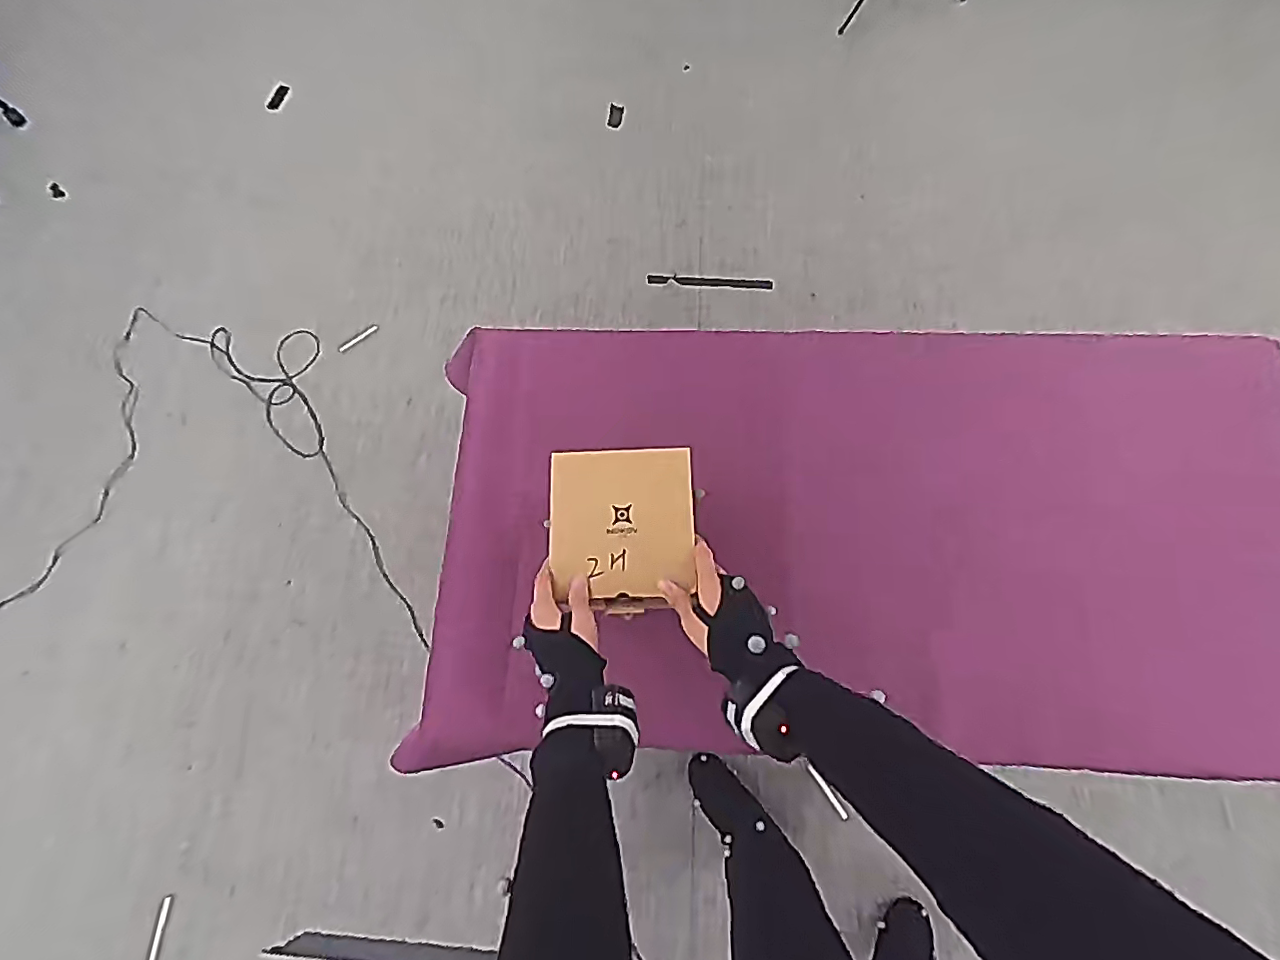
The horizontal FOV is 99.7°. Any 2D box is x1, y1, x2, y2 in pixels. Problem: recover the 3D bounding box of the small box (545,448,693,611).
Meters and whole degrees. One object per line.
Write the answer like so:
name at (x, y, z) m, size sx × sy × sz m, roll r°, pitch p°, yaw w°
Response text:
small box at (-0.021, 0.070, 0.690) m, size 0.168 × 0.176 × 0.179 m, roll -2°, pitch 73°, yaw 3°
